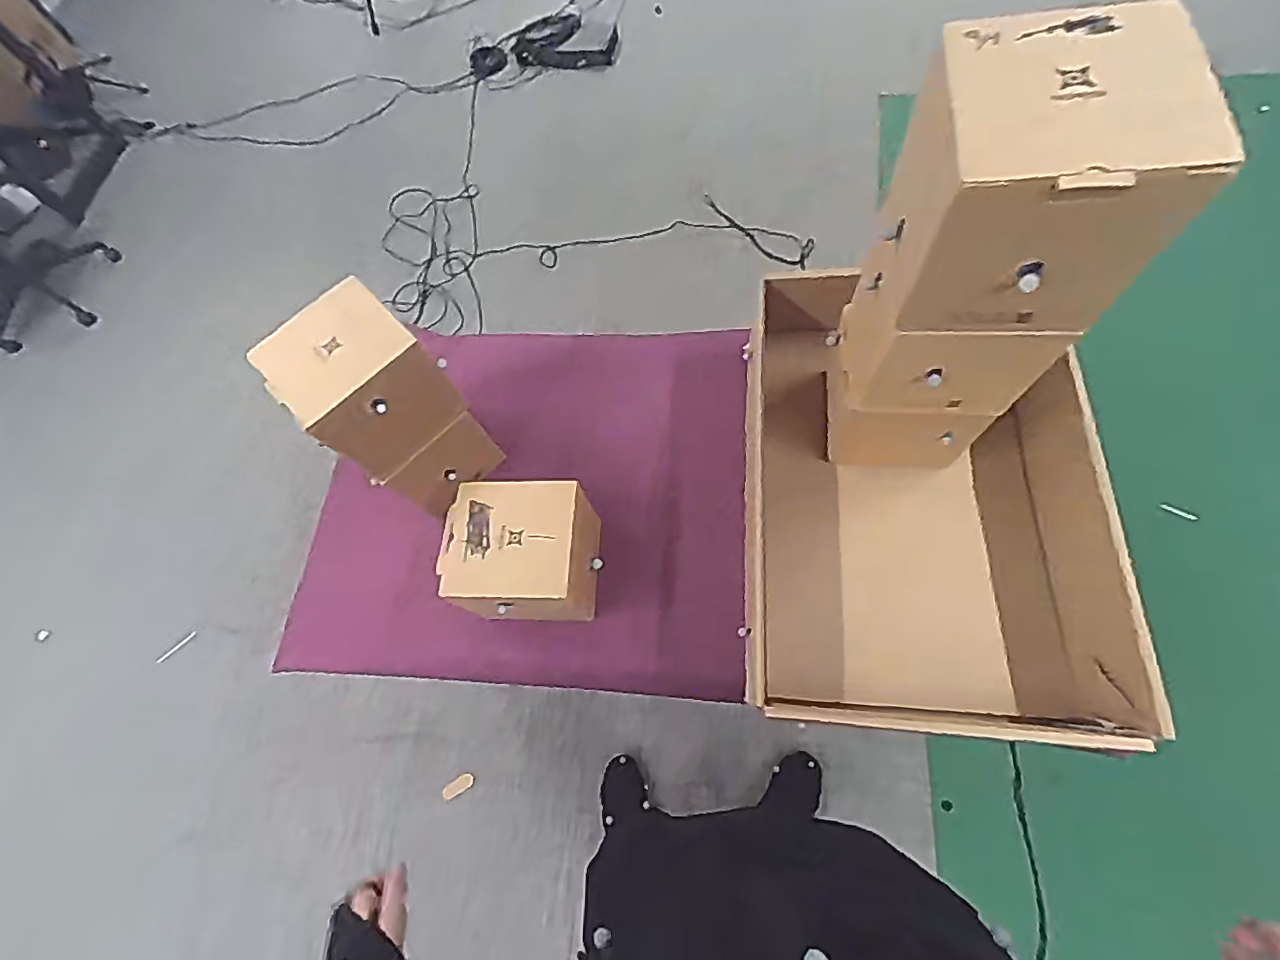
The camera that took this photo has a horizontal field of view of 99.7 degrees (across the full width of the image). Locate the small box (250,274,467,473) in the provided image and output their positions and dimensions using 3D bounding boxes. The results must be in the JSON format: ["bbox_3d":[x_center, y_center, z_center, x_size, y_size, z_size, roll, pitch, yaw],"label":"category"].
[{"bbox_3d":[-0.380,-0.139,0.757,0.179,0.176,0.168,-42,70,-10],"label":"small box"}]

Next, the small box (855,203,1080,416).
[{"bbox_3d":[0.347,-0.185,0.612,0.168,0.176,0.179,3,69,11],"label":"small box"}]

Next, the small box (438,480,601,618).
[{"bbox_3d":[-0.165,0.108,0.799,0.179,0.176,0.168,0,67,8],"label":"small box"}]

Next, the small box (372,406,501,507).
[{"bbox_3d":[-0.364,-0.074,0.905,0.168,0.176,0.179,-42,68,-11],"label":"small box"}]

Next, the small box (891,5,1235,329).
[{"bbox_3d":[0.324,-0.246,0.461,0.168,0.176,0.179,3,70,10],"label":"small box"}]
